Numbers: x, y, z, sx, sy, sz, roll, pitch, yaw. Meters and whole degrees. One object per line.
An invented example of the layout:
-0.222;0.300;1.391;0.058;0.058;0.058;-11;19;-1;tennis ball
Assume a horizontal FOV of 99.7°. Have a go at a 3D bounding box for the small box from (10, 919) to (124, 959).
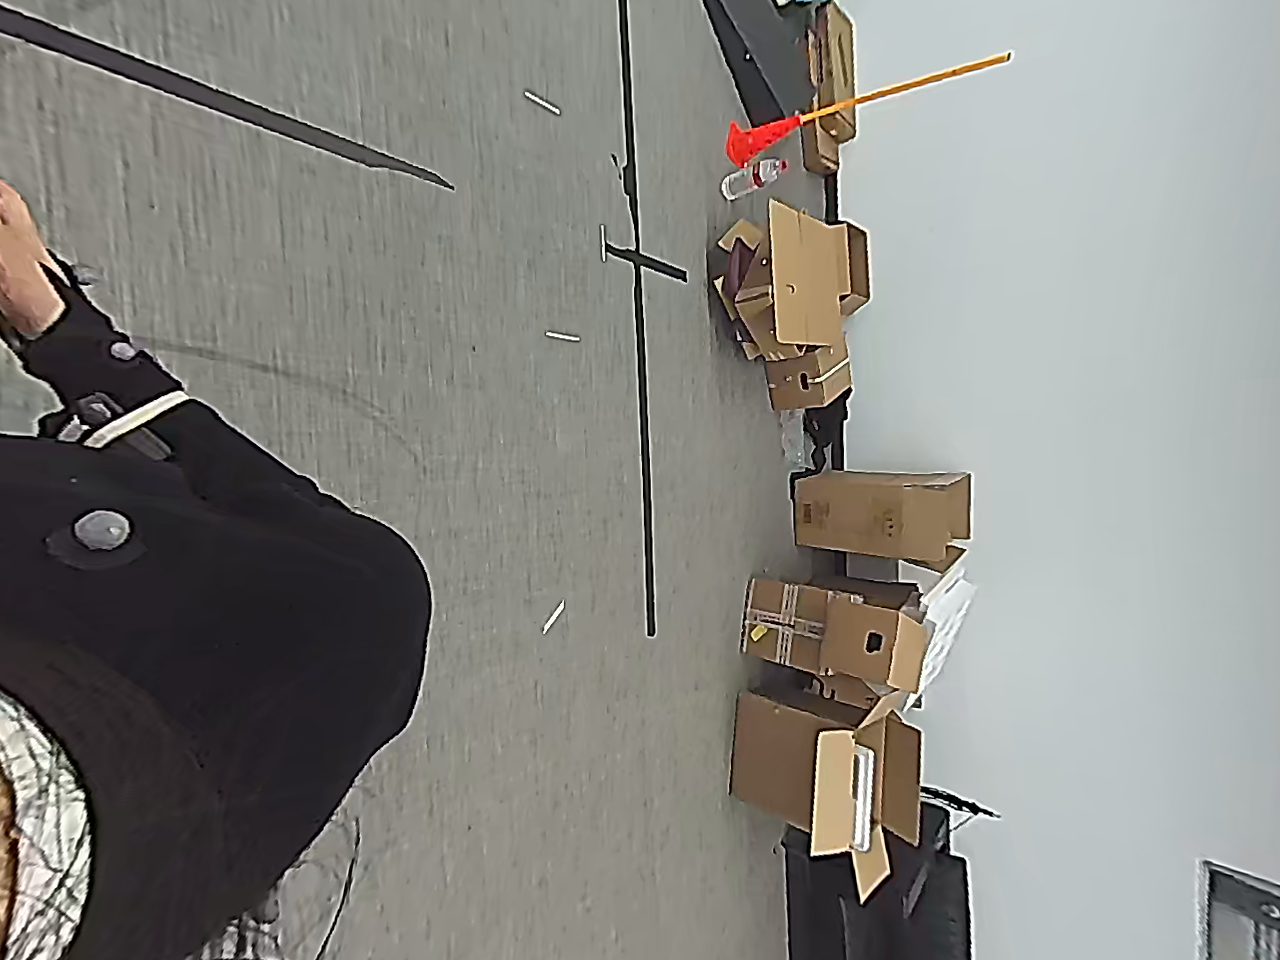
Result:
-0.646;0.629;0.565;0.168;0.176;0.179;-7;95;-48;small box
